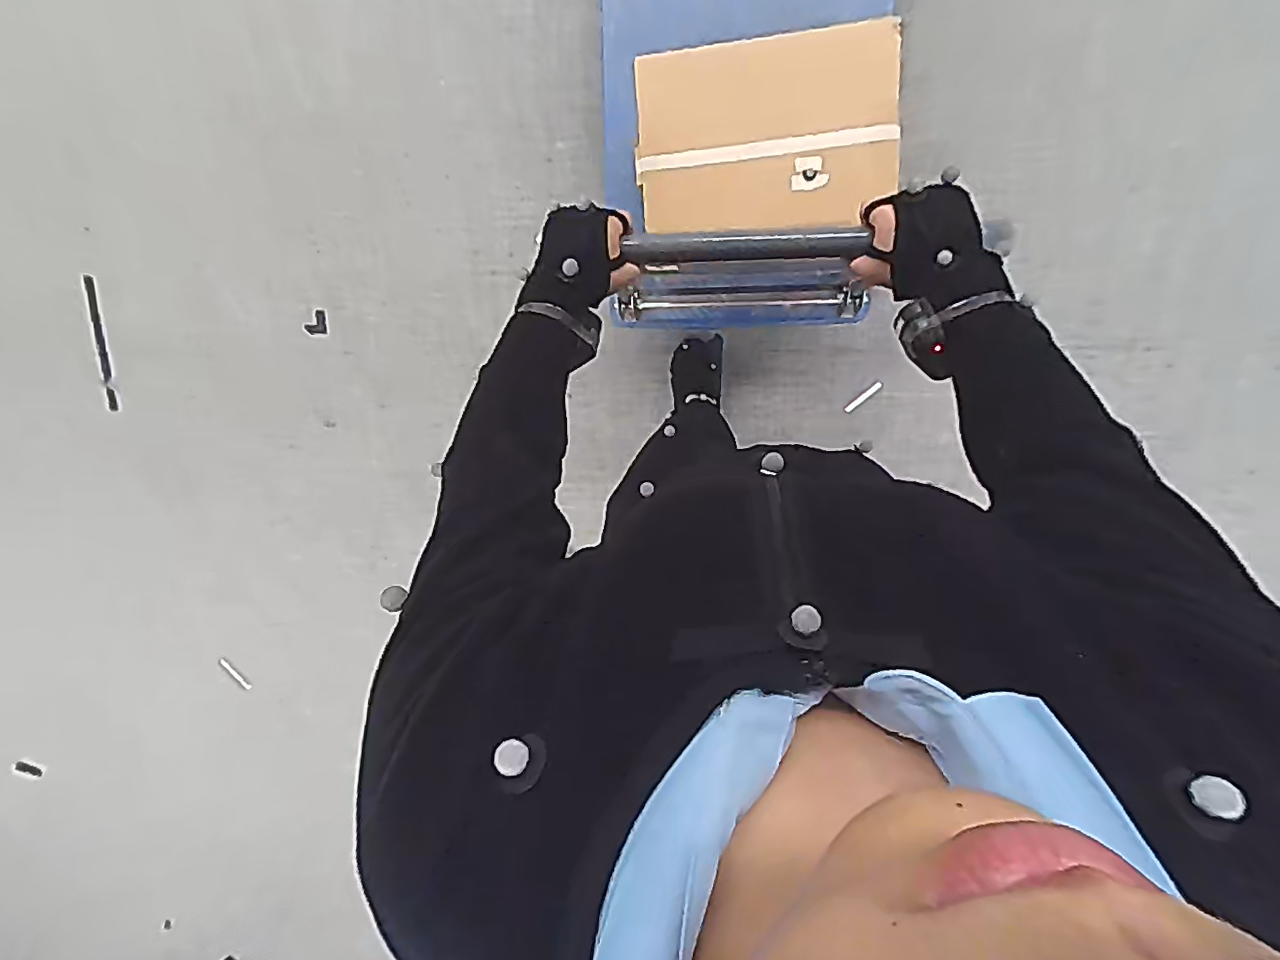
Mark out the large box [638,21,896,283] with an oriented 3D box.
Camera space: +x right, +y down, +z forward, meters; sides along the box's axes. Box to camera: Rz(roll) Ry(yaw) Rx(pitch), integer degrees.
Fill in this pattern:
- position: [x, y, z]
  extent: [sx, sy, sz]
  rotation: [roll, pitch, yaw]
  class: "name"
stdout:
- position: [0.221, -0.571, 1.022]
  extent: [0.408, 0.320, 0.320]
  rotation: [-3, 104, 7]
  class: "large box"
